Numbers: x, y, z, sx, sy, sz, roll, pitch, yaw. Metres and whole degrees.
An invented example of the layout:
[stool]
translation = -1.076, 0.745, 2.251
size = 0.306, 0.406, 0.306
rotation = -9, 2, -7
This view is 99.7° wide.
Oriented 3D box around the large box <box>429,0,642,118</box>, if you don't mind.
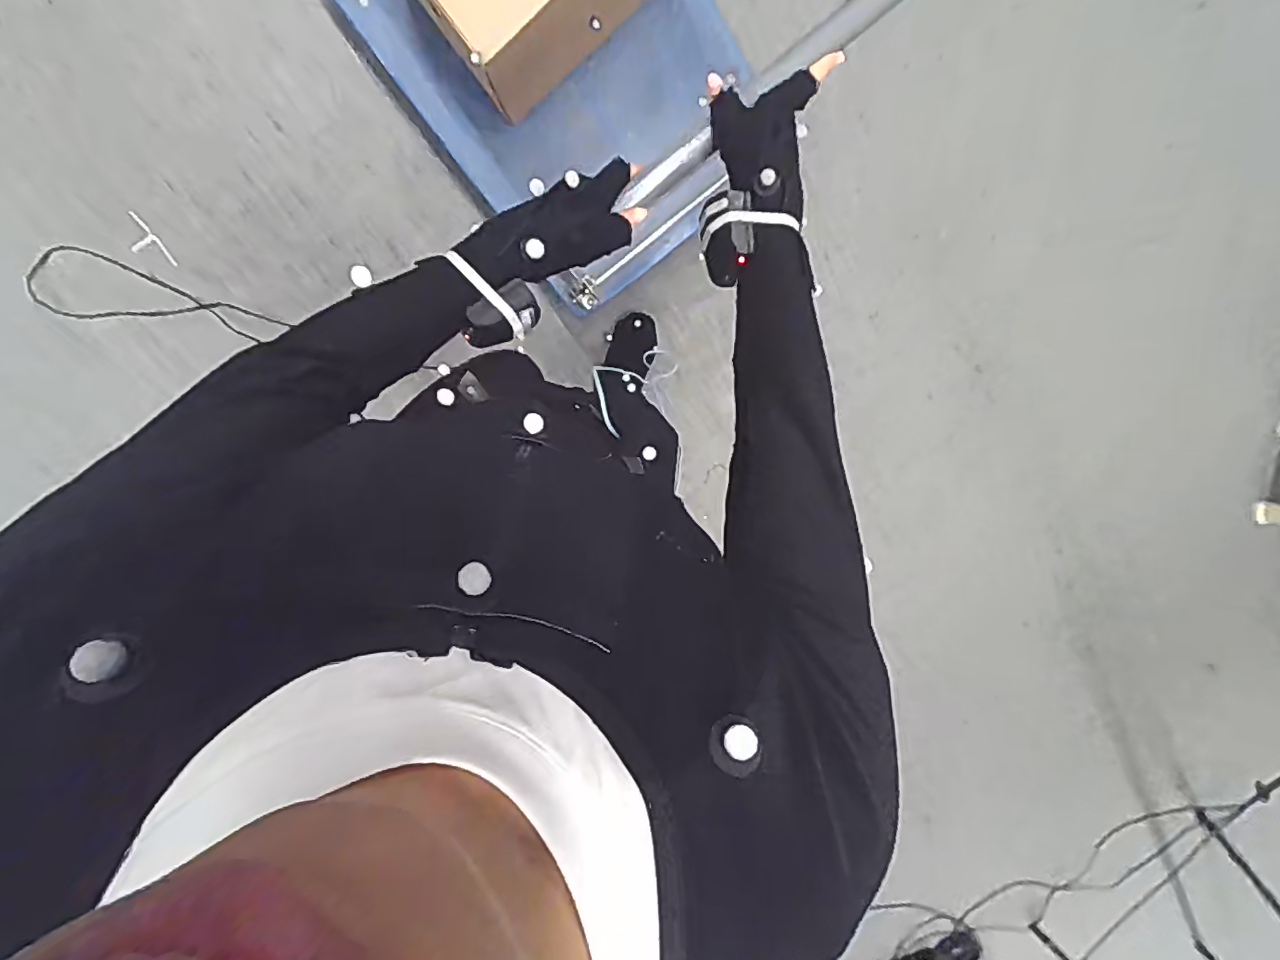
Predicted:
[large box]
translation = -0.168, -0.893, 0.860
size = 0.408, 0.320, 0.320
rotation = -39, 107, 10
